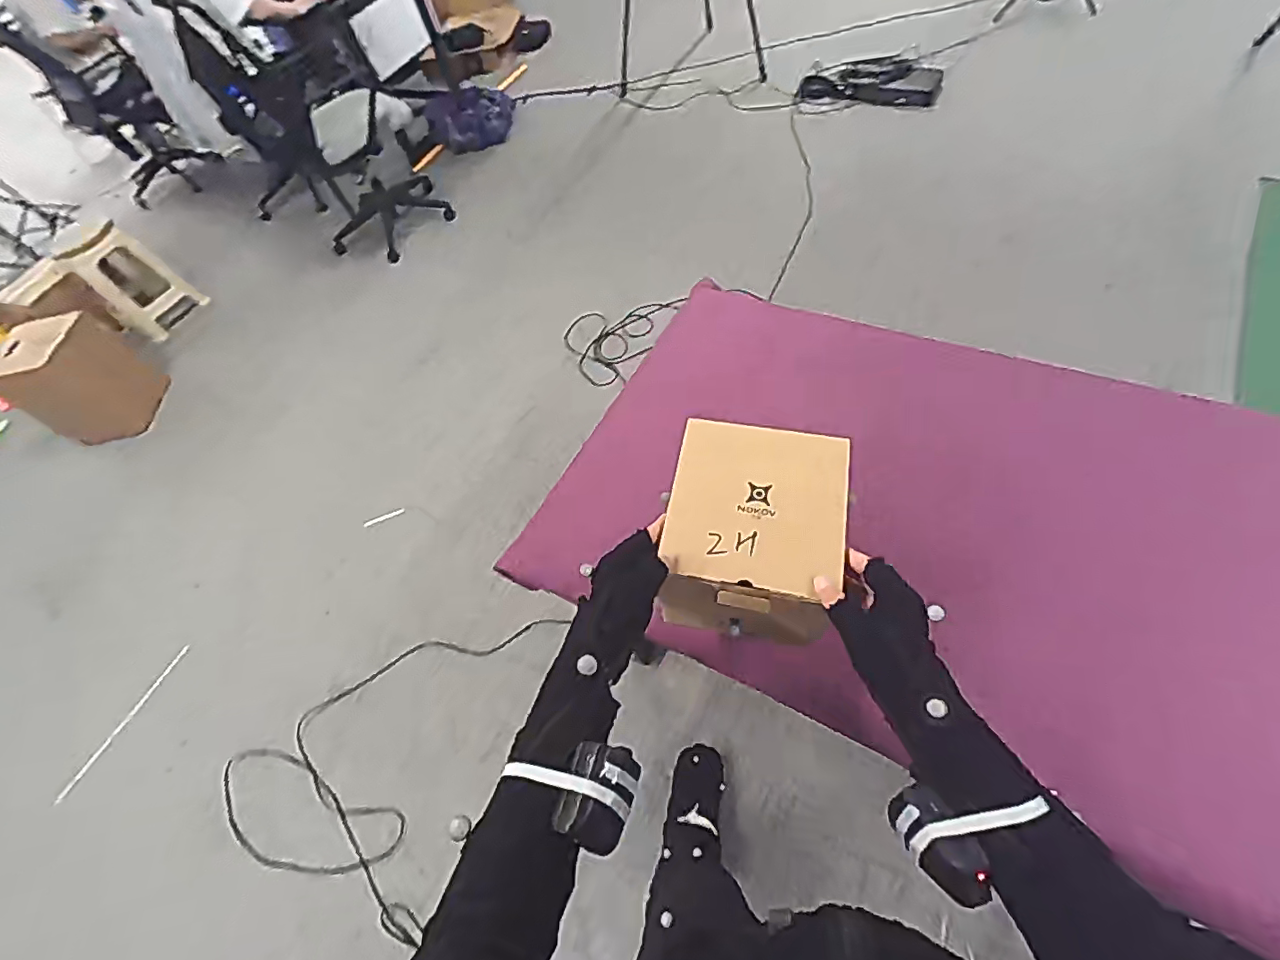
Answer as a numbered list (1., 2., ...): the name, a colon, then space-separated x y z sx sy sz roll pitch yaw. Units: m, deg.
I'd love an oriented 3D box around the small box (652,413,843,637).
1. small box: 0.115 0.054 0.595 0.168 0.176 0.179 9 63 12
